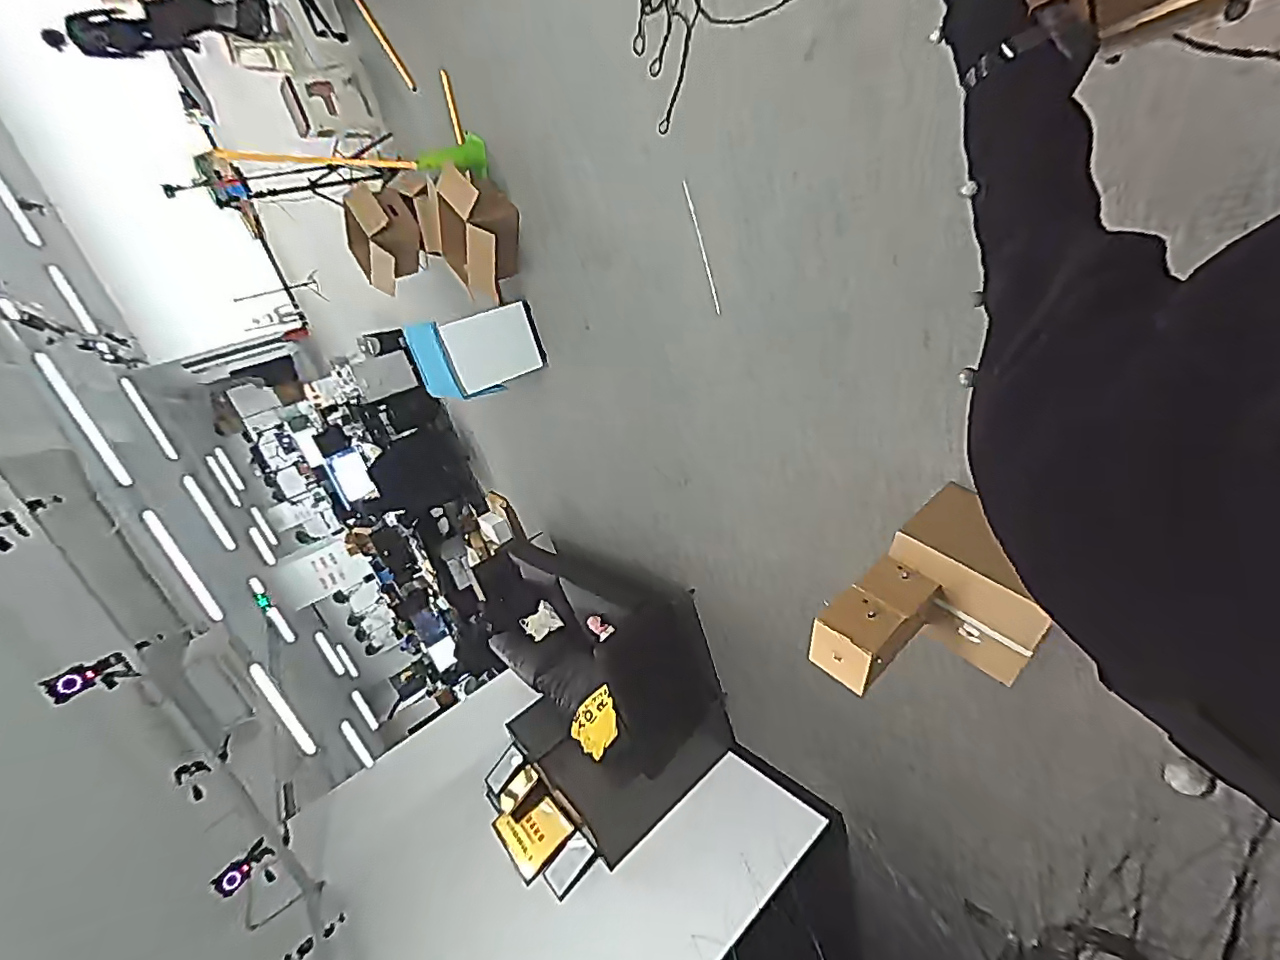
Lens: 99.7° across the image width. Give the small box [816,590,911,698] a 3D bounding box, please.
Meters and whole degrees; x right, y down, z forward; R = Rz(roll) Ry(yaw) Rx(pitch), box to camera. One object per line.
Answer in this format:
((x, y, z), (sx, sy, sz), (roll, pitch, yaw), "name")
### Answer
((0.594, 0.430, 1.439), (0.168, 0.176, 0.179), (31, 140, 42), "small box")
